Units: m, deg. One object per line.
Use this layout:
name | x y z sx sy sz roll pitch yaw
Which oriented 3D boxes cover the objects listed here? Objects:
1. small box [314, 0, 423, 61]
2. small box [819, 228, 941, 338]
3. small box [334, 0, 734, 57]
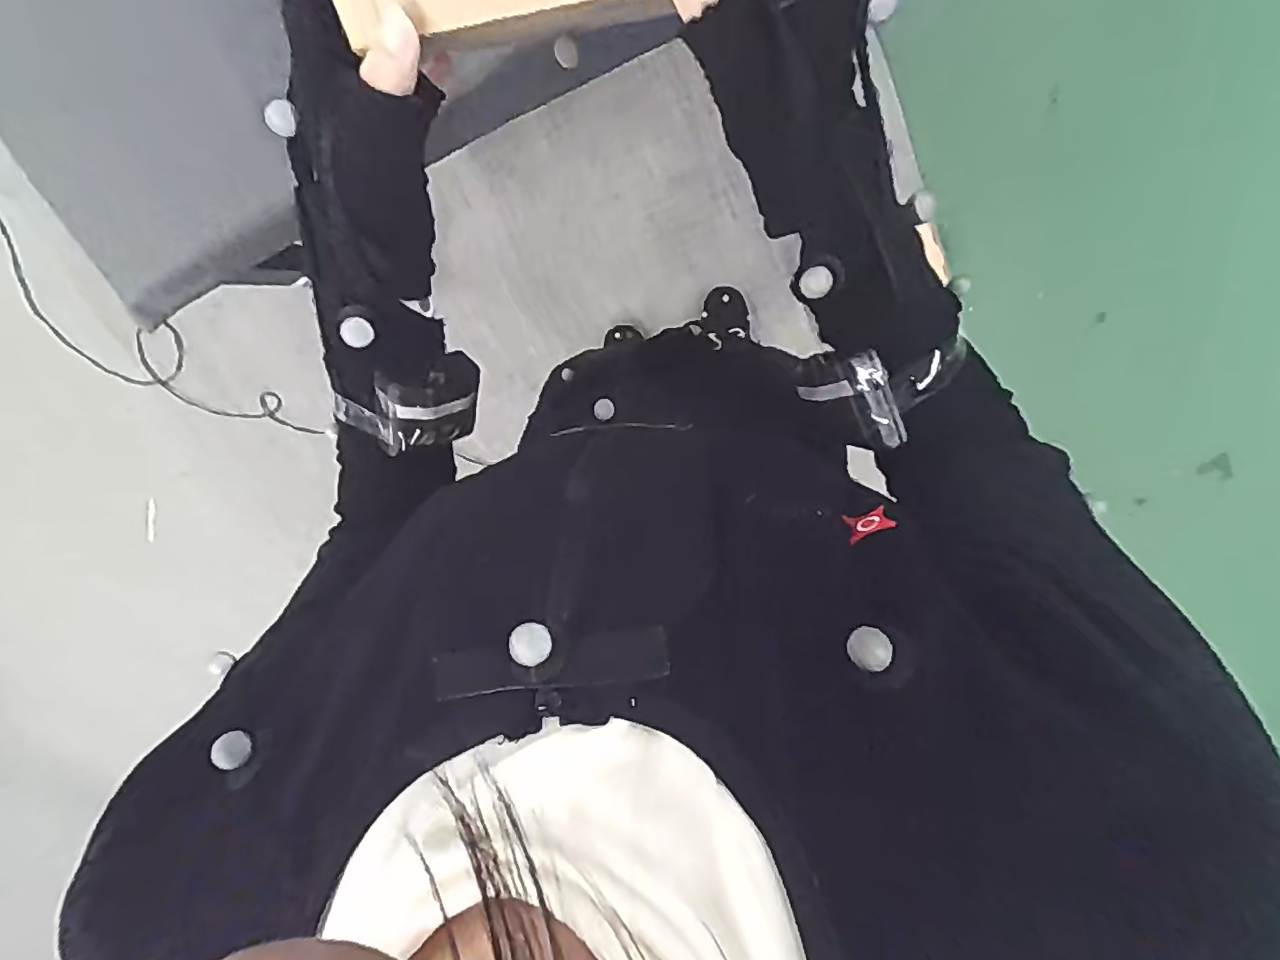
small box | -0.230 -0.503 0.448 0.179 0.176 0.168 -24 104 10
small box | 0.524 -0.432 1.201 0.179 0.176 0.168 -24 104 12
small box | -0.046 -0.299 0.226 0.168 0.176 0.179 -5 127 5
